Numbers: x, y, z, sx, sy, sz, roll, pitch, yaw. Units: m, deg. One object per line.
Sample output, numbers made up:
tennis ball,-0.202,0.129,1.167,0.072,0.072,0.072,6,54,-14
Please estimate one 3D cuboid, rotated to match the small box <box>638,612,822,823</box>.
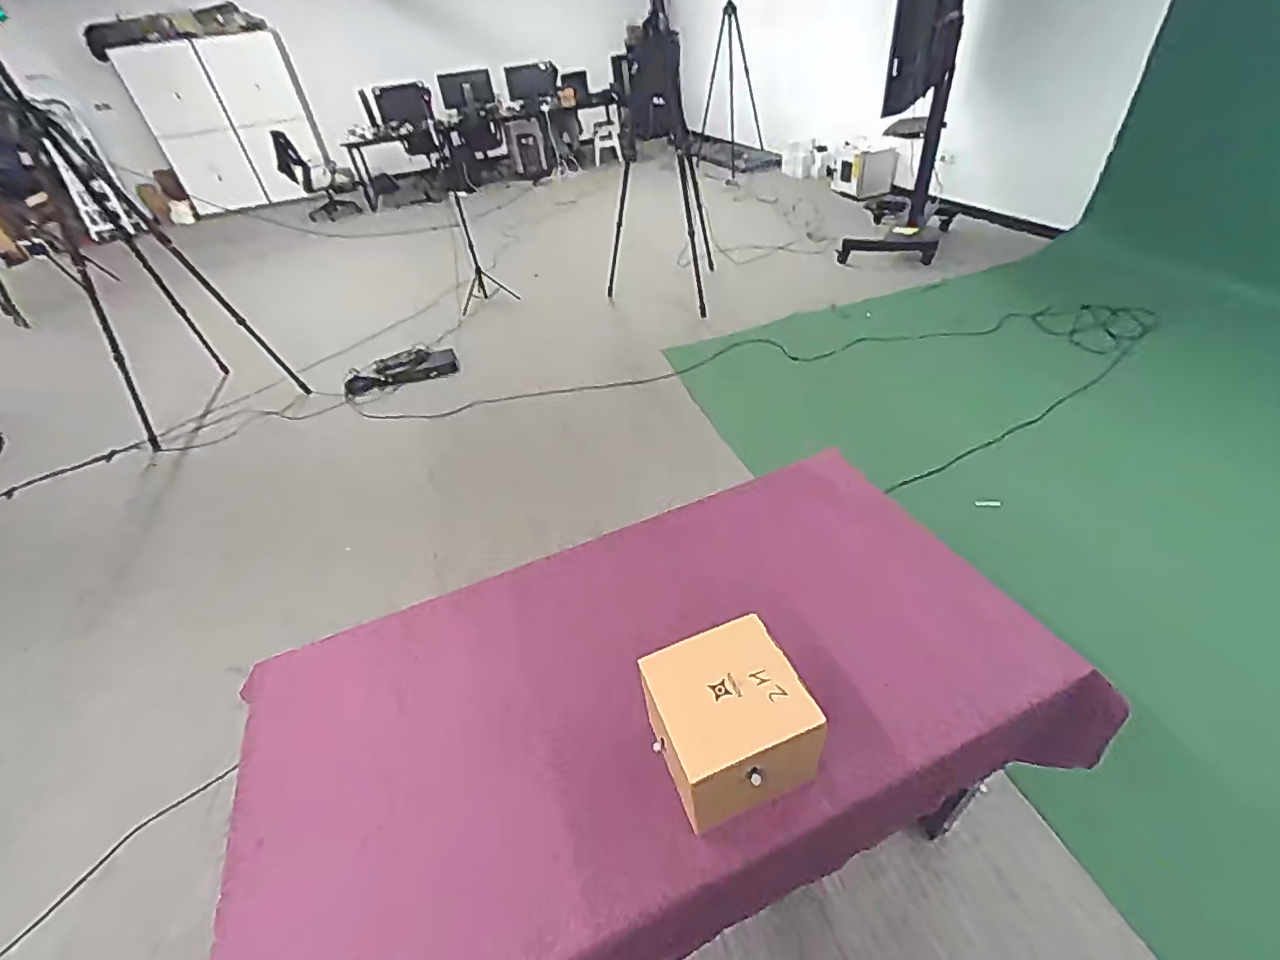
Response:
small box,0.114,0.312,0.711,0.179,0.176,0.168,-18,42,-11
